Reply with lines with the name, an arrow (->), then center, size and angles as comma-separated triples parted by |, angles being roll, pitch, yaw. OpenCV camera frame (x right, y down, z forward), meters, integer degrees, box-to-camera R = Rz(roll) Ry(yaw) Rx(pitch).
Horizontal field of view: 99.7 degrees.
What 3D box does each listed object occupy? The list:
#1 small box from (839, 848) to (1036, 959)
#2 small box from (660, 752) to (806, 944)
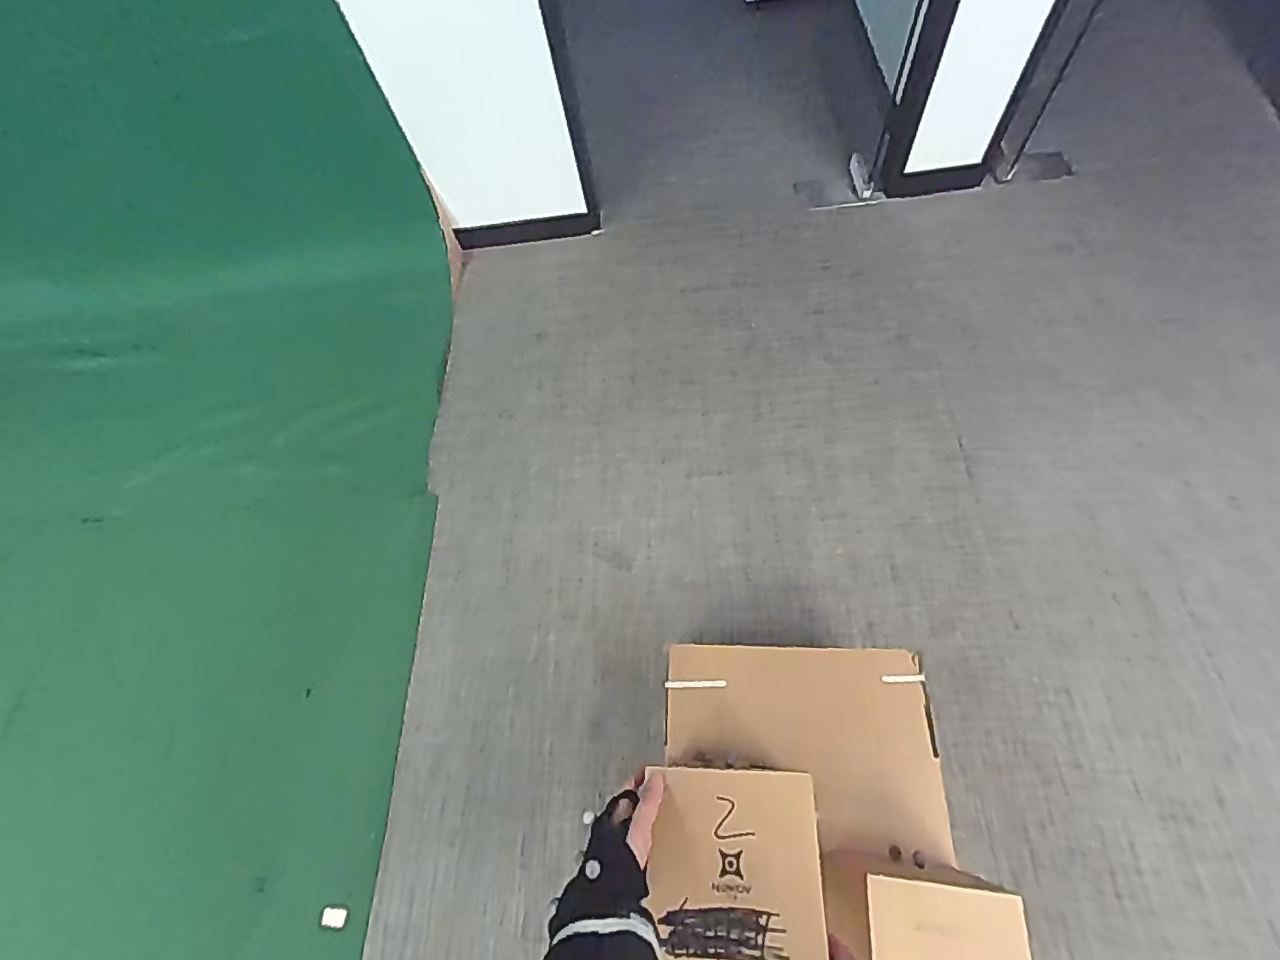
small box -> 0.339, 0.560, 0.637 | 0.168, 0.176, 0.179 | 3, 63, 8
small box -> 0.122, 0.468, 0.714 | 0.168, 0.176, 0.179 | 1, 62, 10
